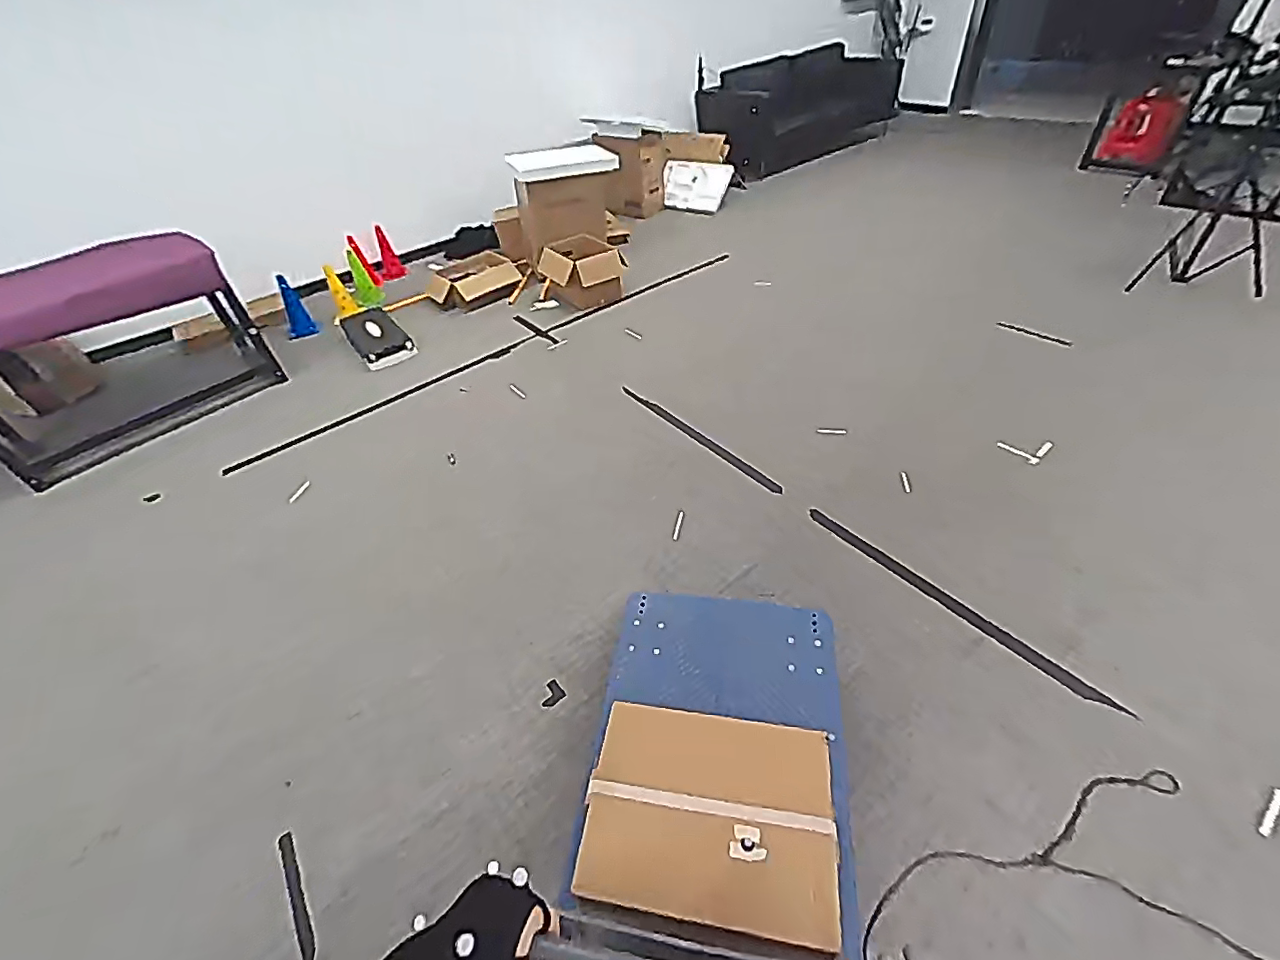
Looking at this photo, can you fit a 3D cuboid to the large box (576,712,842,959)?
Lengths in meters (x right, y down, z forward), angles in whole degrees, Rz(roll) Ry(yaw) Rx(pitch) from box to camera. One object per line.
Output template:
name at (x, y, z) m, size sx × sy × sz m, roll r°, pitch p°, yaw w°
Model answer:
large box at (0.126, 0.673, 1.007) m, size 0.408 × 0.320 × 0.320 m, roll 4°, pitch 43°, yaw 10°
